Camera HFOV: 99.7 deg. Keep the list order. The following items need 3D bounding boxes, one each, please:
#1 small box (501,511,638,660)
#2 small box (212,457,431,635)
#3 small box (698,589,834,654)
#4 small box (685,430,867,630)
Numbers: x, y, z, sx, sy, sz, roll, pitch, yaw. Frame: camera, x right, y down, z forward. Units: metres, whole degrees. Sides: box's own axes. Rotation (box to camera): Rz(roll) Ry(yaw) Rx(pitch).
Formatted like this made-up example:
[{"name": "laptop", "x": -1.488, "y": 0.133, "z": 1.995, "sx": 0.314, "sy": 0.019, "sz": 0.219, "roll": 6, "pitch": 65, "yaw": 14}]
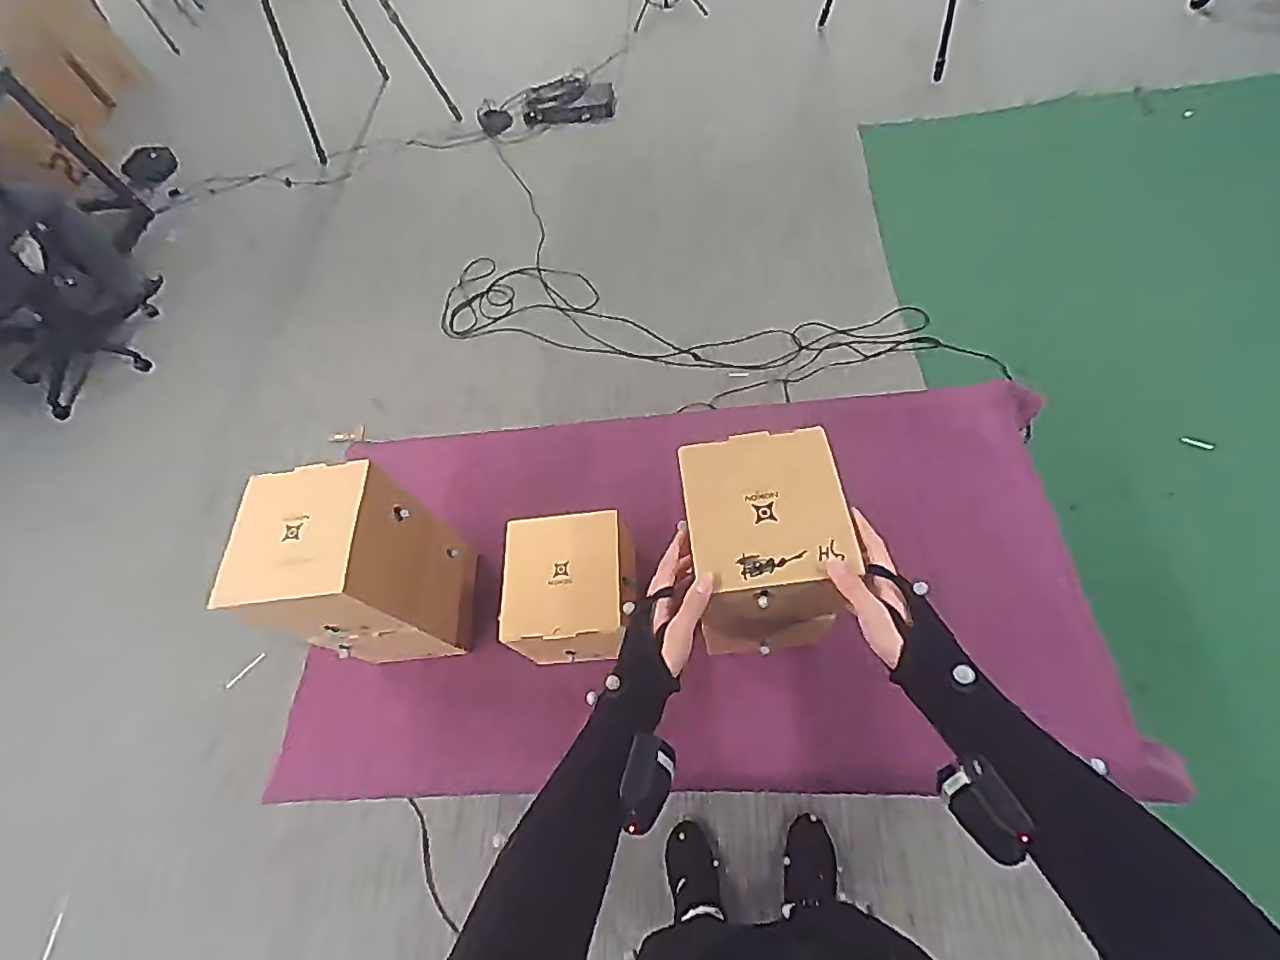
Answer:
[{"name": "small box", "x": -0.096, "y": 0.164, "z": 0.815, "sx": 0.168, "sy": 0.176, "sz": 0.179, "roll": -6, "pitch": 62, "yaw": 6}, {"name": "small box", "x": -0.395, "y": 0.092, "z": 0.710, "sx": 0.168, "sy": 0.176, "sz": 0.179, "roll": -6, "pitch": 61, "yaw": 6}, {"name": "small box", "x": 0.166, "y": 0.143, "z": 0.783, "sx": 0.168, "sy": 0.176, "sz": 0.179, "roll": -7, "pitch": 62, "yaw": 6}, {"name": "small box", "x": 0.145, "y": 0.065, "z": 0.639, "sx": 0.168, "sy": 0.176, "sz": 0.179, "roll": -8, "pitch": 62, "yaw": 5}]
